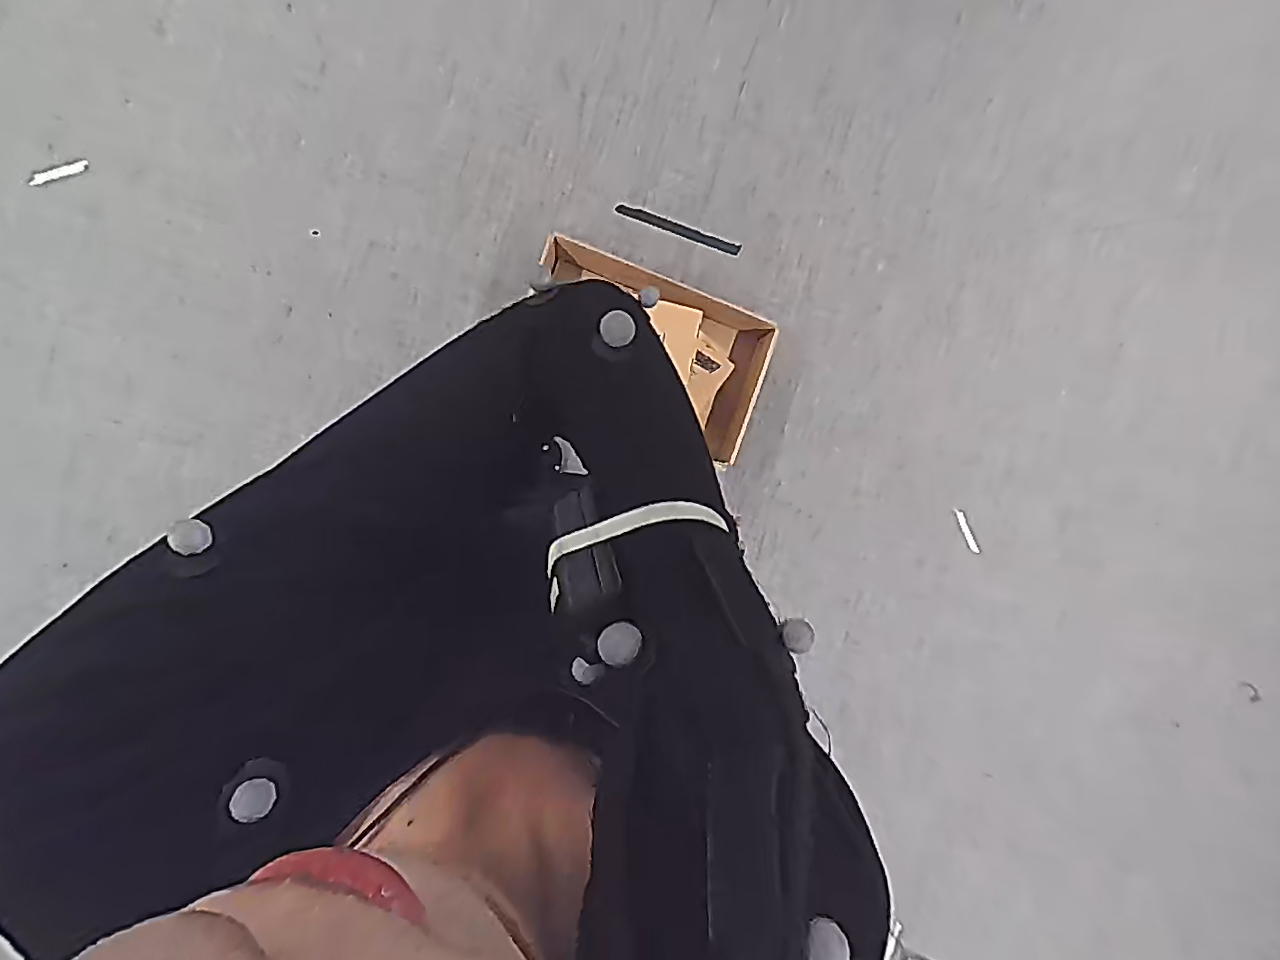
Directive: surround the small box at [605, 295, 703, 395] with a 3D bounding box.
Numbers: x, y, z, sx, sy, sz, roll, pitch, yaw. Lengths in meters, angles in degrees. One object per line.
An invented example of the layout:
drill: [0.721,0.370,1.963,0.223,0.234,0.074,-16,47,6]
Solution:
small box: [0.025,-0.294,1.219,0.179,0.176,0.168,11,90,-7]
